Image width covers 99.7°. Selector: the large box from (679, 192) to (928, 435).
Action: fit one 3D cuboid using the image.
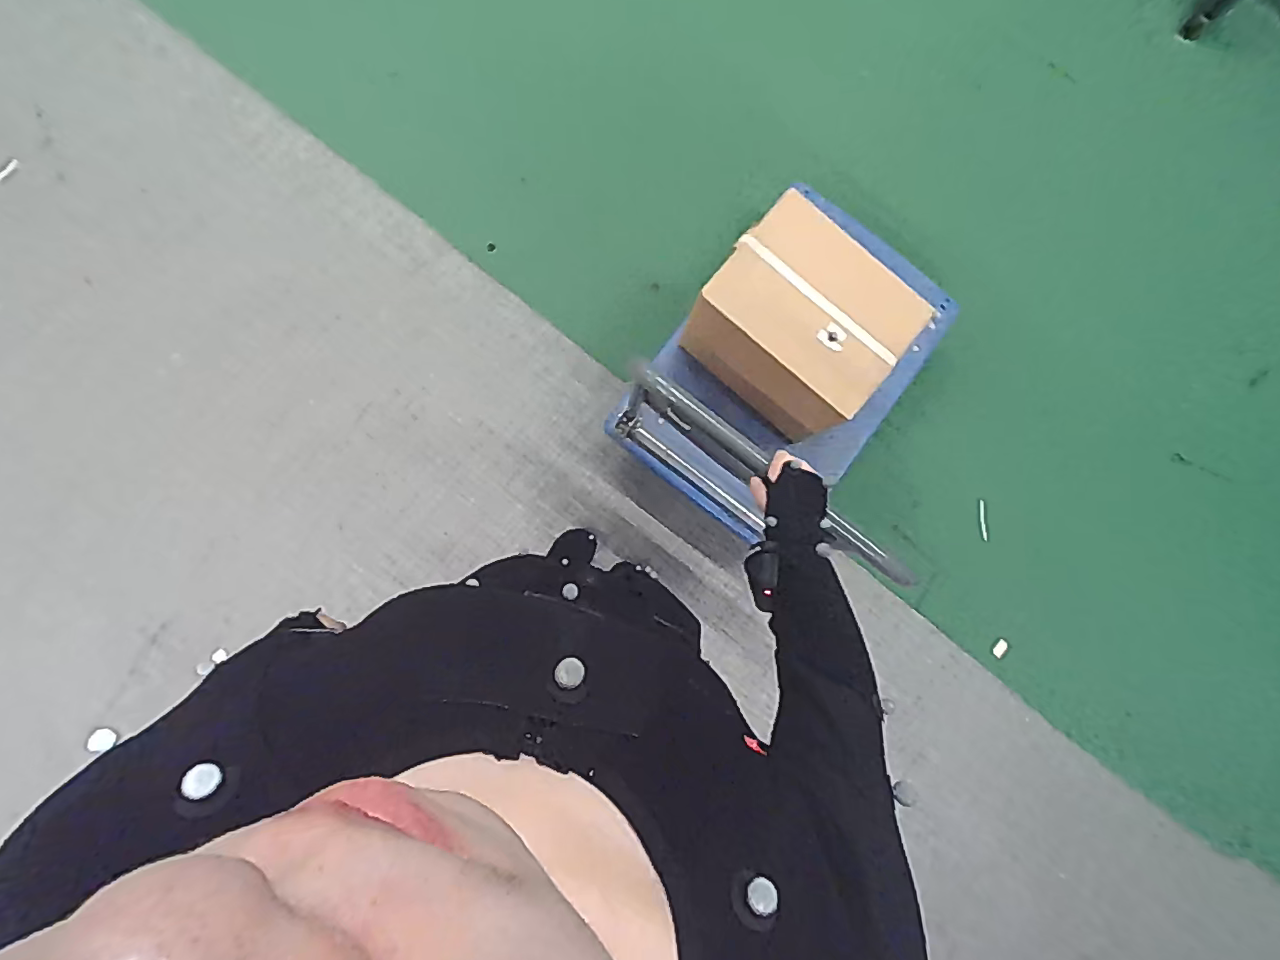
[{"bbox_3d":[0.357,-0.365,1.280,0.408,0.320,0.320,40,84,-1],"label":"large box"}]
